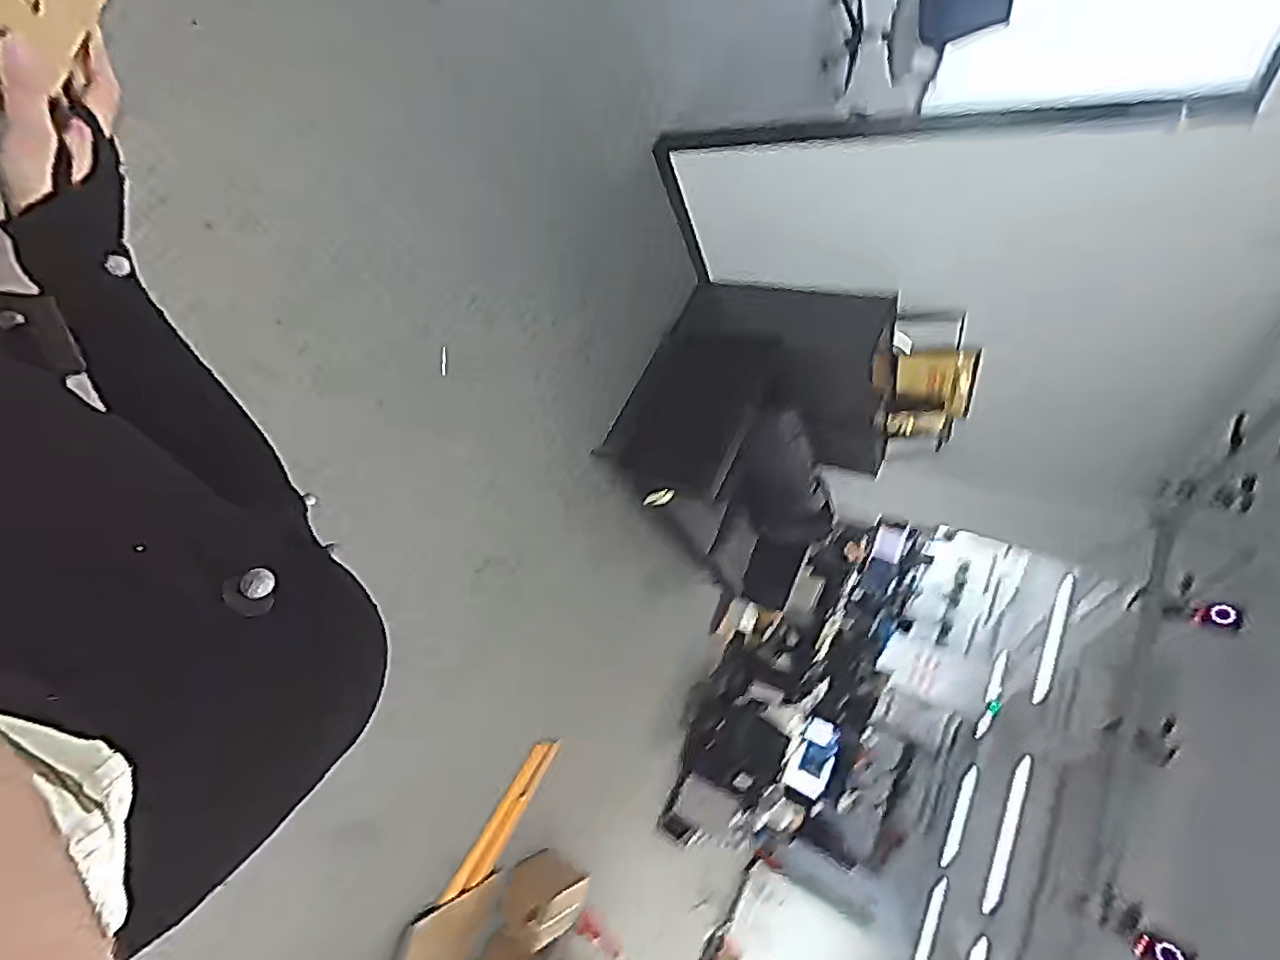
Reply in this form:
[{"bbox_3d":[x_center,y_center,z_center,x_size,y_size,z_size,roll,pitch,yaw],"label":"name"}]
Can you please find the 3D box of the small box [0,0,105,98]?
[{"bbox_3d":[-0.493,-0.391,0.356,0.179,0.176,0.168,28,79,-62],"label":"small box"}]
